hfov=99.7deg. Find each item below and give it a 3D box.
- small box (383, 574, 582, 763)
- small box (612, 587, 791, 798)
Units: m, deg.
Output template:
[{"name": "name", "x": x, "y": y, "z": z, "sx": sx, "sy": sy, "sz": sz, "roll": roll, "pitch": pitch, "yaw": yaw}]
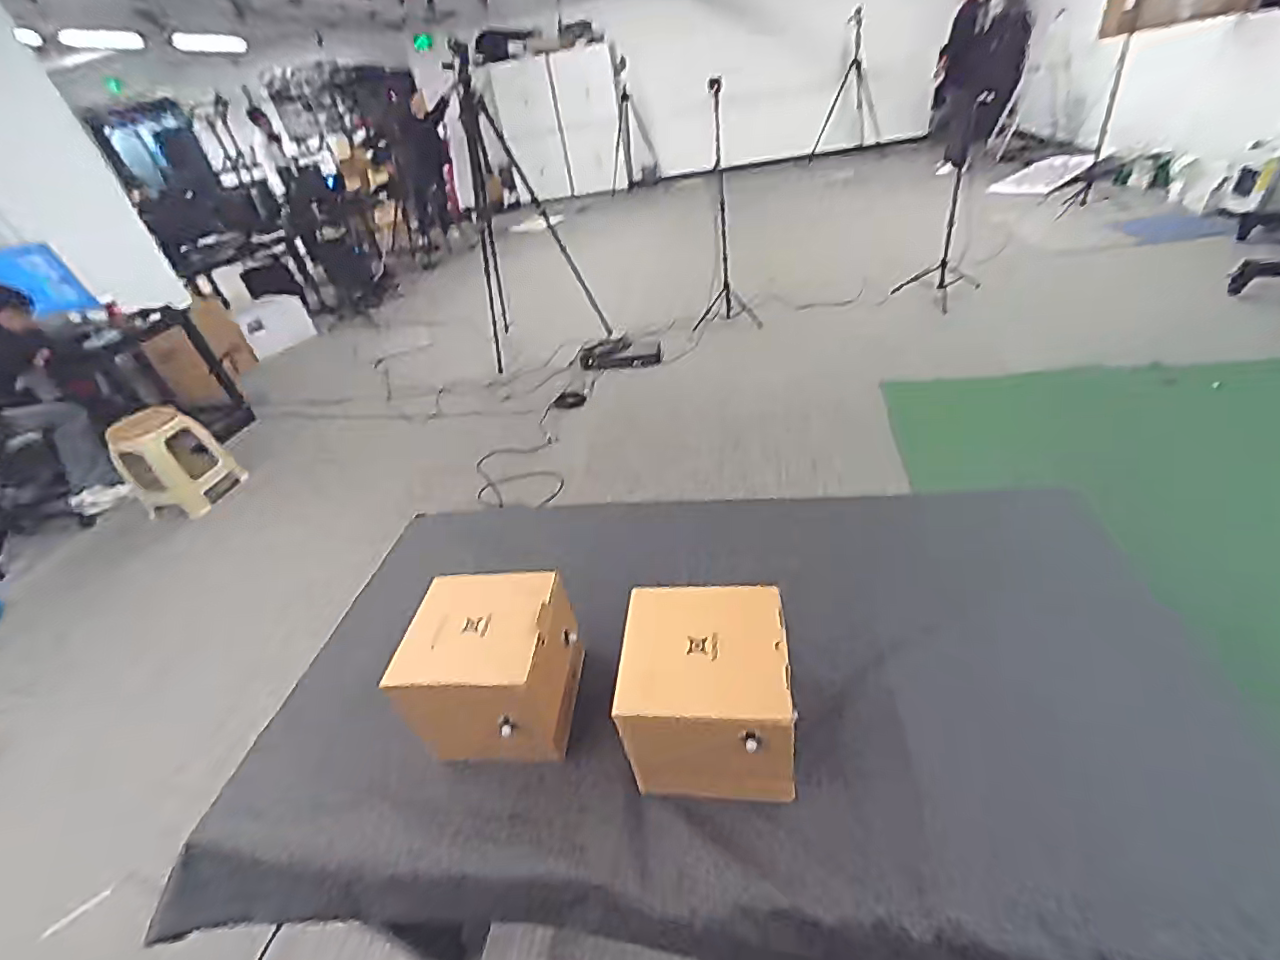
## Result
[{"name": "small box", "x": -0.183, "y": 0.242, "z": 0.697, "sx": 0.179, "sy": 0.176, "sz": 0.168, "roll": -6, "pitch": 34, "yaw": 10}, {"name": "small box", "x": 0.078, "y": 0.243, "z": 0.626, "sx": 0.179, "sy": 0.176, "sz": 0.168, "roll": -3, "pitch": 36, "yaw": 10}]
